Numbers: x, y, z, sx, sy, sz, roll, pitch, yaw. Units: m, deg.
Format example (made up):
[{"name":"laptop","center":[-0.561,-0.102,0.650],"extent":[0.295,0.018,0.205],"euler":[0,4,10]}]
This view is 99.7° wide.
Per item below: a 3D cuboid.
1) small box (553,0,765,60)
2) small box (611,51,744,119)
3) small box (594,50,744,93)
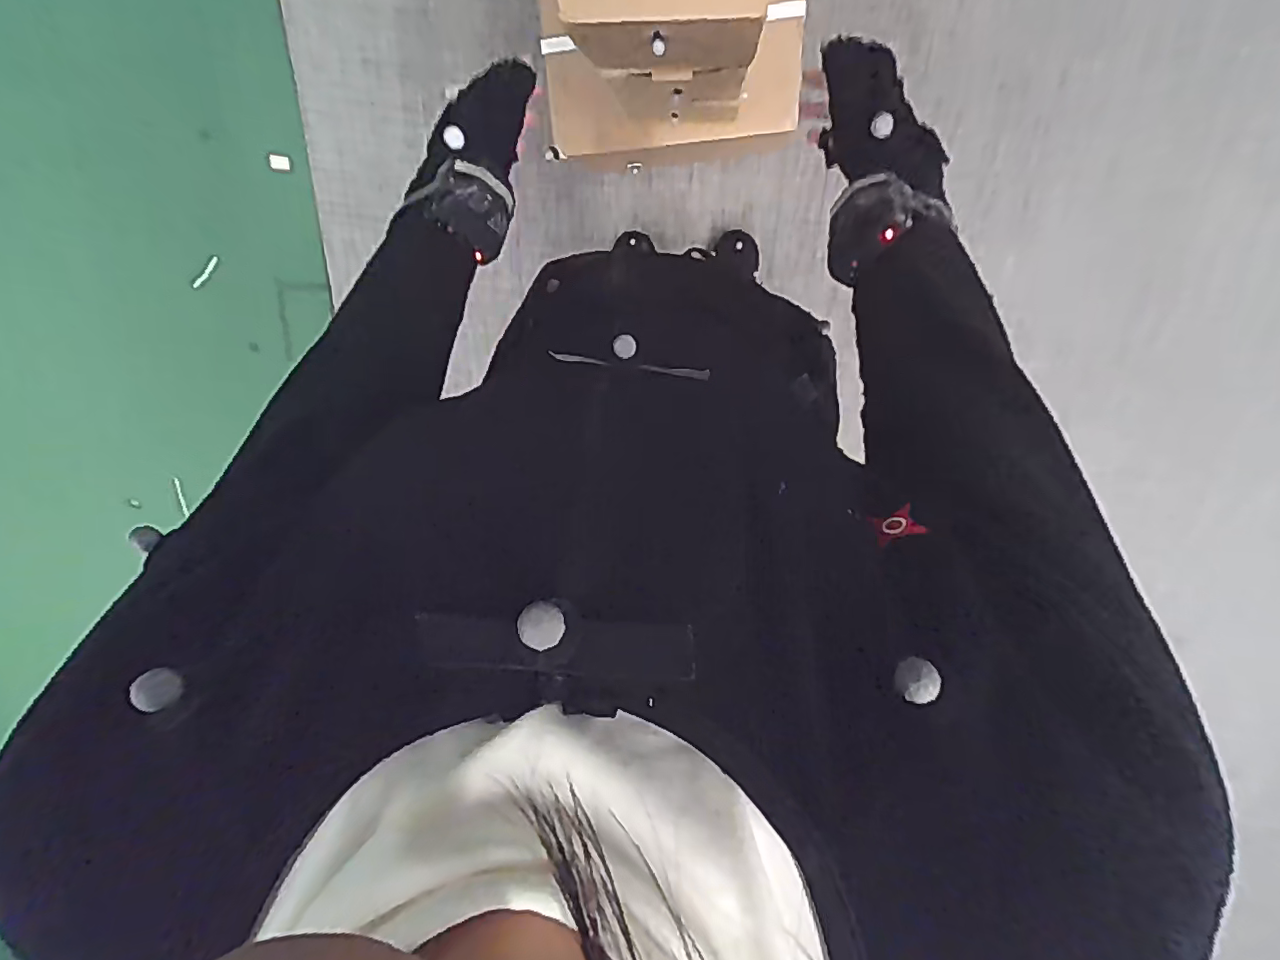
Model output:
[{"name":"small box","center":[0.024,-0.488,0.474],"extent":[0.179,0.176,0.168],"euler":[3,118,5]},{"name":"small box","center":[0.058,-0.624,0.768],"extent":[0.179,0.176,0.168],"euler":[4,117,7]},{"name":"small box","center":[0.040,-0.559,0.620],"extent":[0.168,0.176,0.179],"euler":[3,117,6]}]
